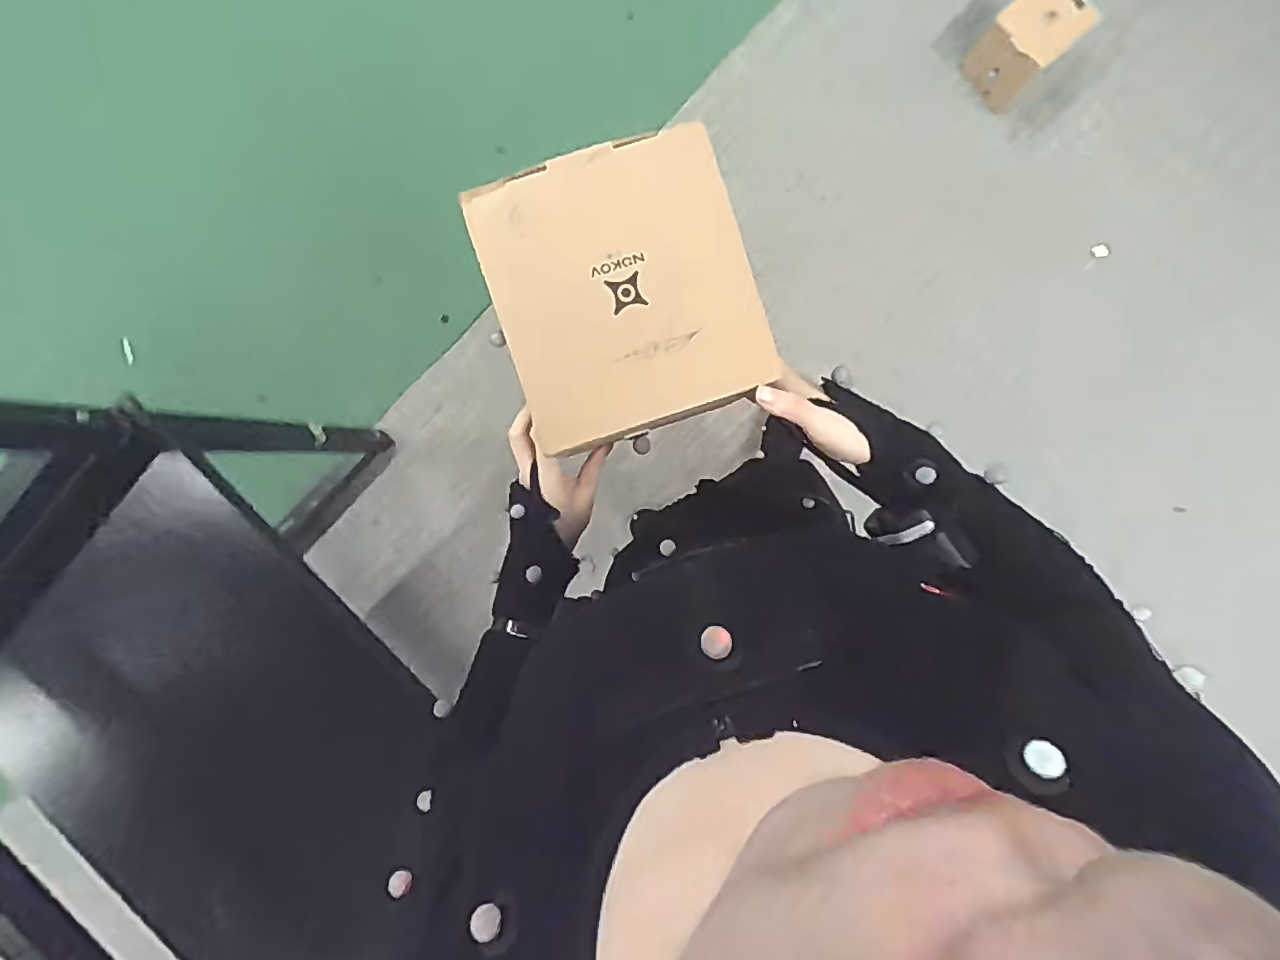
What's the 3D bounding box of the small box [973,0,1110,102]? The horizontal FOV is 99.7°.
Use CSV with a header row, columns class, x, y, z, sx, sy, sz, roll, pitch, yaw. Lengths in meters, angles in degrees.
class,x,y,z,sx,sy,sz,roll,pitch,yaw
small box,0.941,-1.066,1.293,0.179,0.176,0.168,-40,89,6
